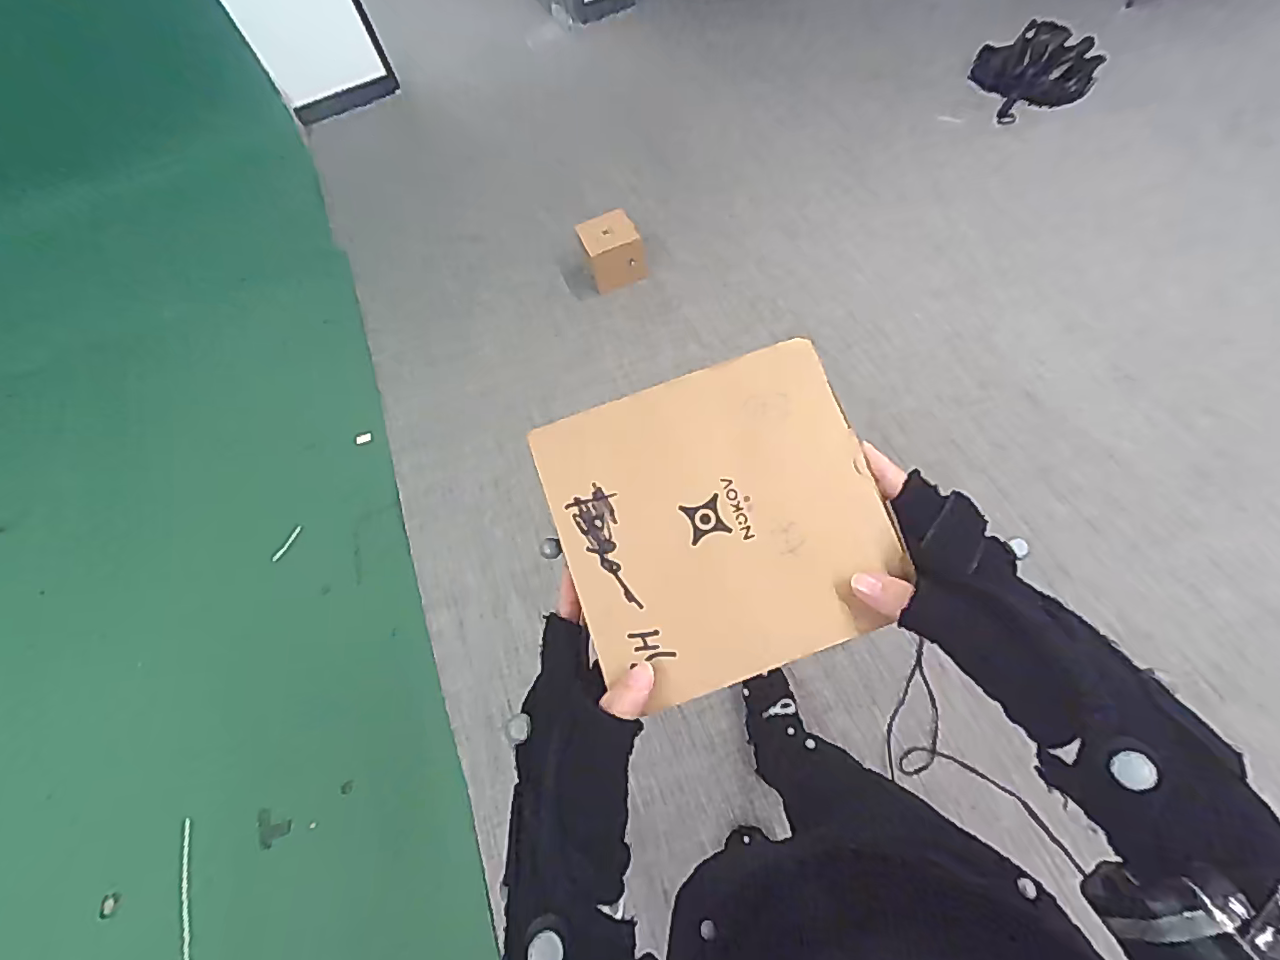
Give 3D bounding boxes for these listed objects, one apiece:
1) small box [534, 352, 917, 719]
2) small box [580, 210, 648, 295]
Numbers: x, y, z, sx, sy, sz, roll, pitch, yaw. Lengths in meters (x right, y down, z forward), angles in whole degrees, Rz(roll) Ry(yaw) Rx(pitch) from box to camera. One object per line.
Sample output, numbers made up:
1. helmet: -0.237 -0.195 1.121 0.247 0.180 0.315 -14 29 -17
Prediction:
1. small box: 0.044 0.041 0.378 0.179 0.176 0.168 -19 77 -3
2. small box: -0.082 -0.761 1.818 0.179 0.176 0.168 -24 63 -2
